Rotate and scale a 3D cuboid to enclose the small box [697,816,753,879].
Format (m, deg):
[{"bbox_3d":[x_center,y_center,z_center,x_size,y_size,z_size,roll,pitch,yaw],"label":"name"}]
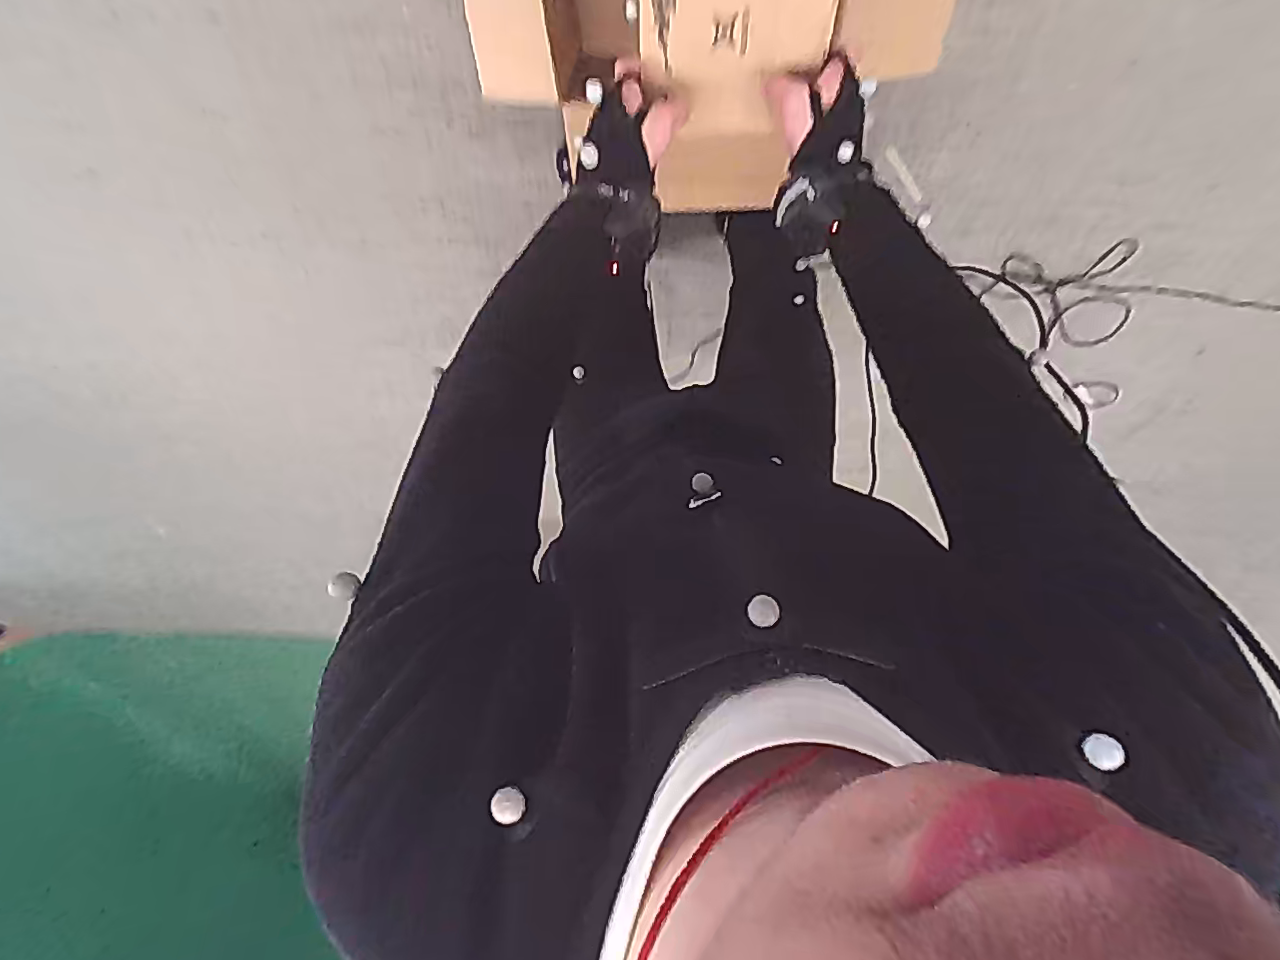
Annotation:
[{"bbox_3d":[0.308,1.361,2.007,0.179,0.176,0.168,5,137,-1],"label":"small box"}]

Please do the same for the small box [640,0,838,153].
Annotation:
[{"bbox_3d":[0.094,-0.449,0.560,0.179,0.176,0.168,3,129,4],"label":"small box"}]
